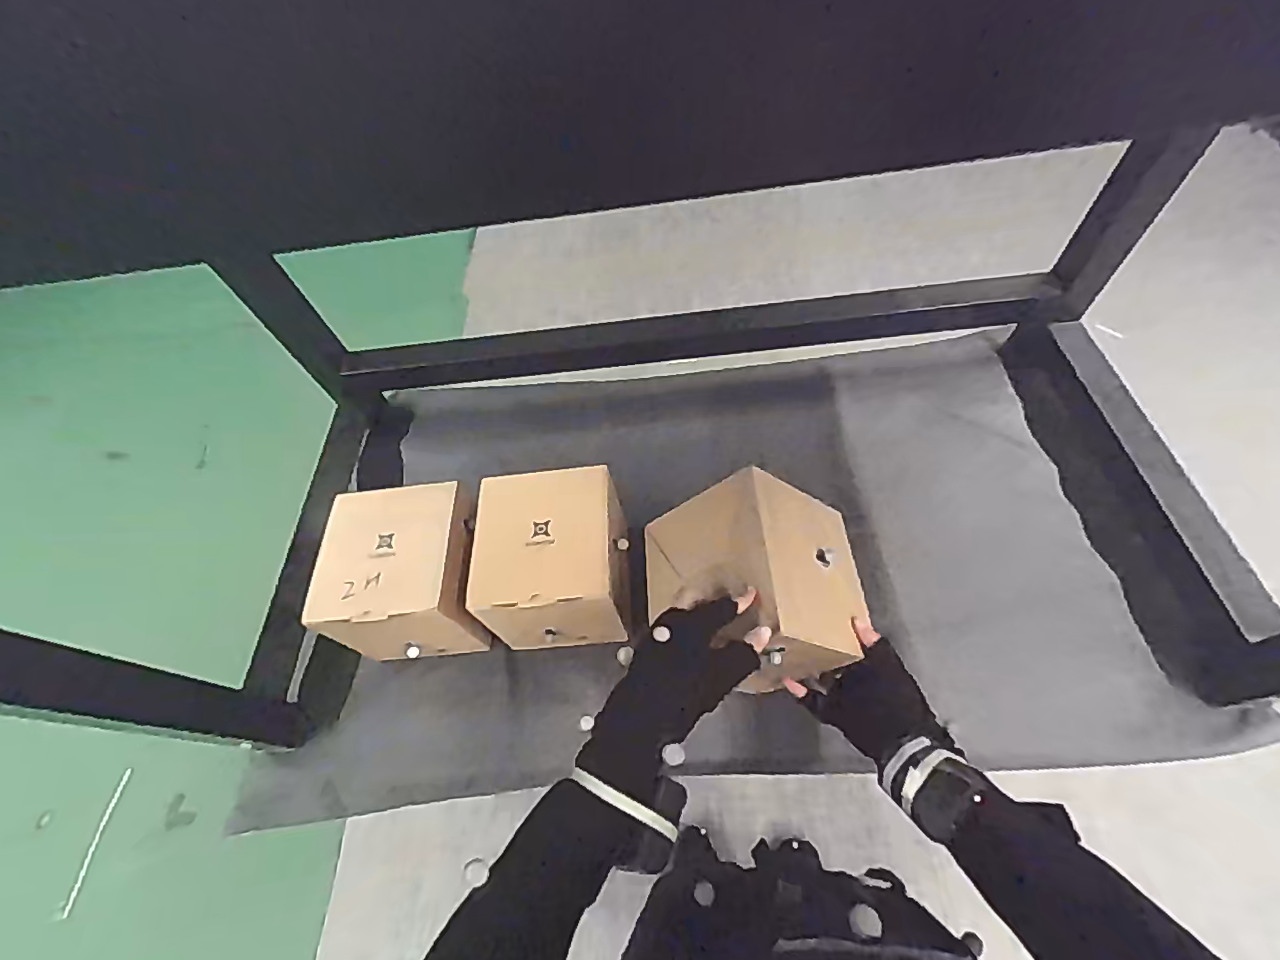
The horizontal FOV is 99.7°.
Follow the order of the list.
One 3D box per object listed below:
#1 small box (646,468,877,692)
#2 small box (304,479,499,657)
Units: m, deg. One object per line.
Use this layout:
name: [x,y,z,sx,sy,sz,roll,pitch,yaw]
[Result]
small box: [0.121,0.116,0.590,0.168,0.176,0.179,-34,46,37]
small box: [-0.297,0.122,0.722,0.168,0.176,0.179,-7,57,5]
